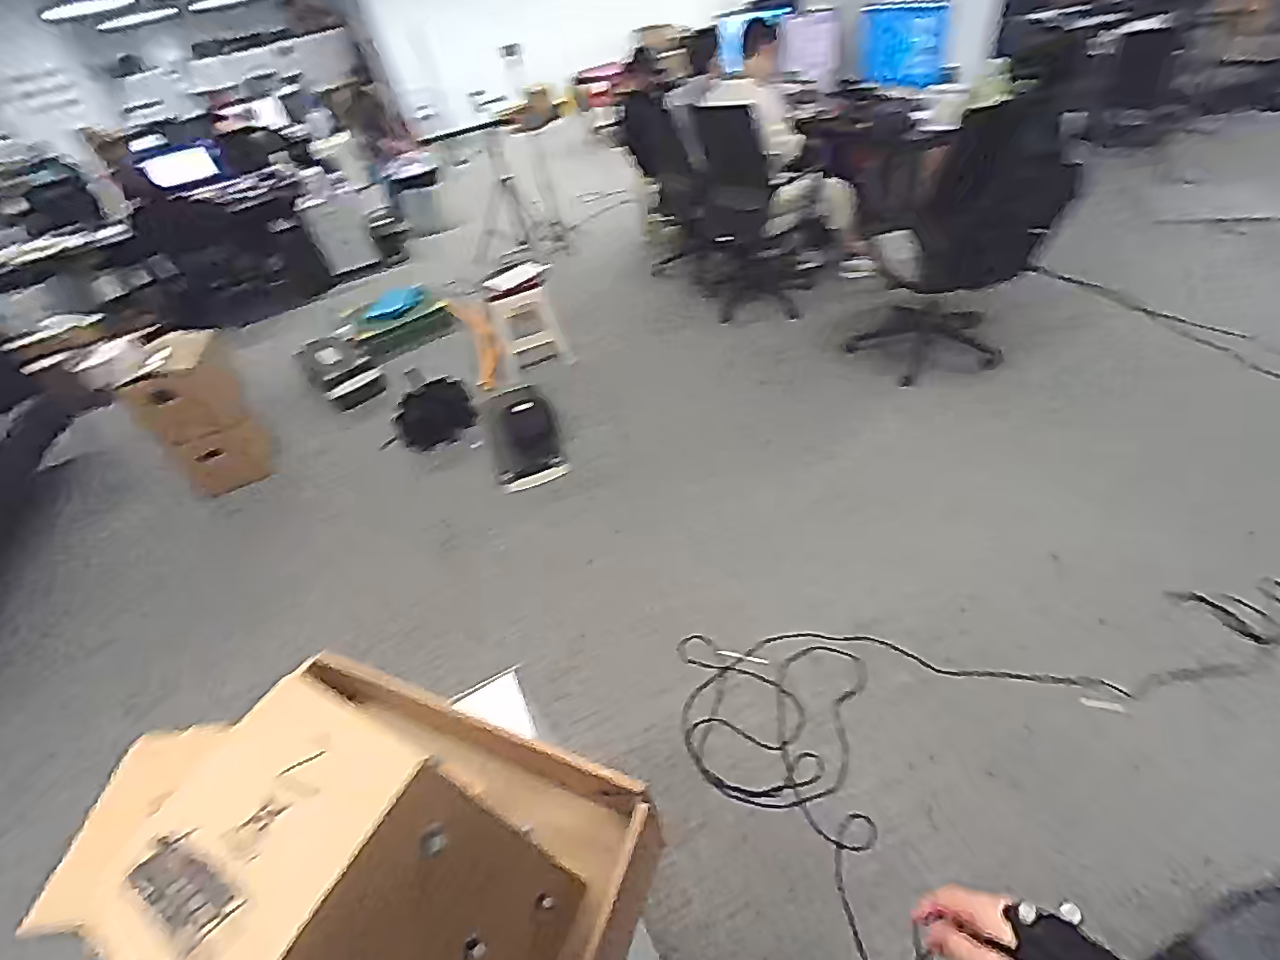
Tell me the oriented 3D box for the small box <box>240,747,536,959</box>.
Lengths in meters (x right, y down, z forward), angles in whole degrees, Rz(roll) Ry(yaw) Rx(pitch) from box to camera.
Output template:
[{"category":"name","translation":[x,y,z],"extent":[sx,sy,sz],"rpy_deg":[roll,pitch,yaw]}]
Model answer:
[{"category":"small box","translation":[-0.225,0.409,0.538],"extent":[0.168,0.176,0.179],"rpy_deg":[9,49,26]}]

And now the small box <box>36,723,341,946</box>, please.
[{"category":"small box","translation":[-0.478,0.403,0.614],"extent":[0.168,0.176,0.179],"rpy_deg":[-10,45,6]}]
